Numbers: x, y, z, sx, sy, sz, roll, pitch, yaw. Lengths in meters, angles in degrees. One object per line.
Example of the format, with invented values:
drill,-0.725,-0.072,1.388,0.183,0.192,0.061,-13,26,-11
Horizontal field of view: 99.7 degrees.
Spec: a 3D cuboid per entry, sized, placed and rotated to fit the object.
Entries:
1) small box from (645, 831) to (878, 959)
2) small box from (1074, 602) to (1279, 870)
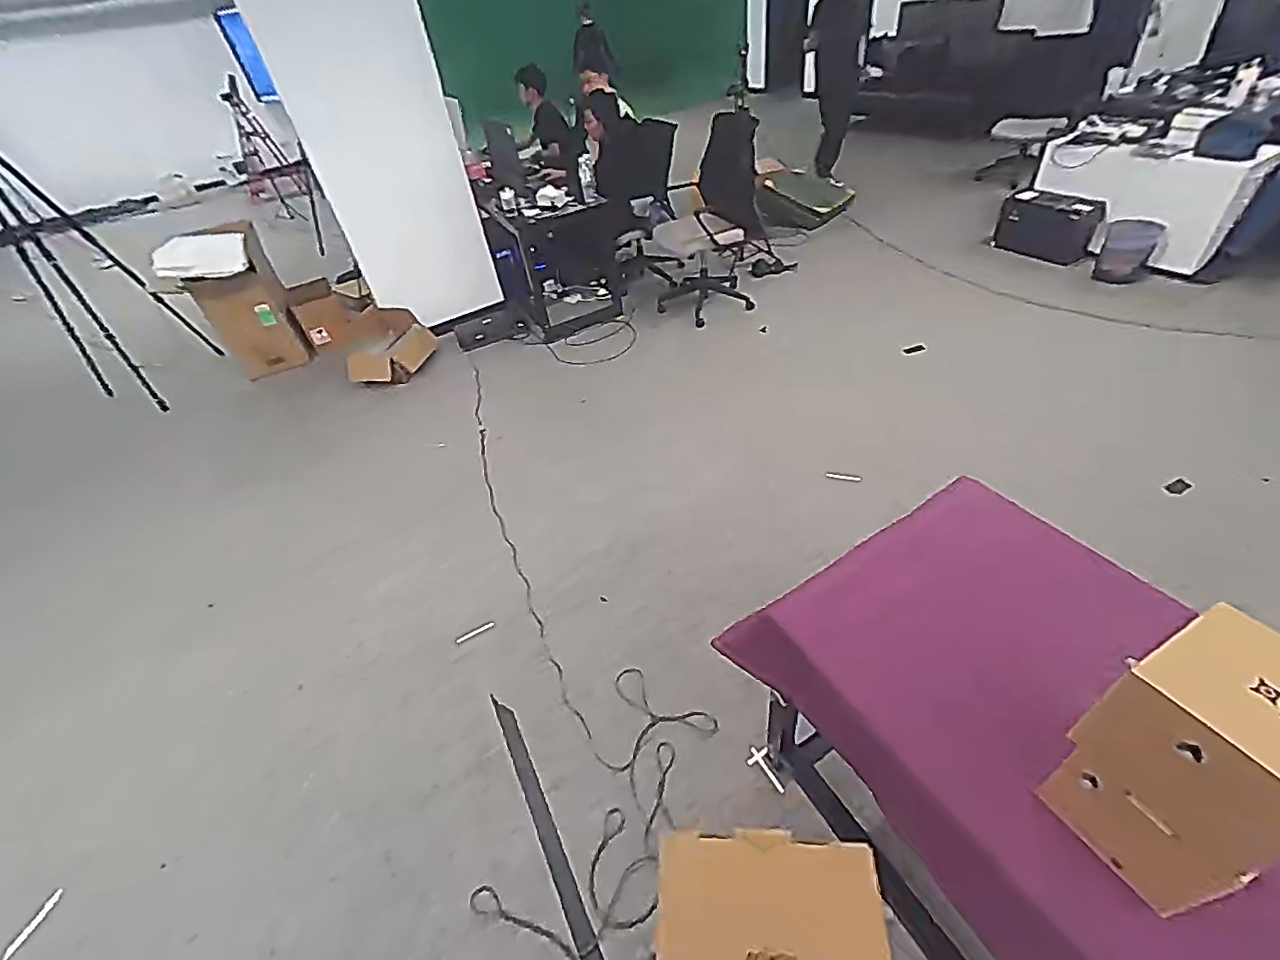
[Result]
small box,0.091,0.403,0.431,0.168,0.176,0.179,0,46,5
small box,0.633,0.274,0.587,0.168,0.176,0.179,-24,44,-15
